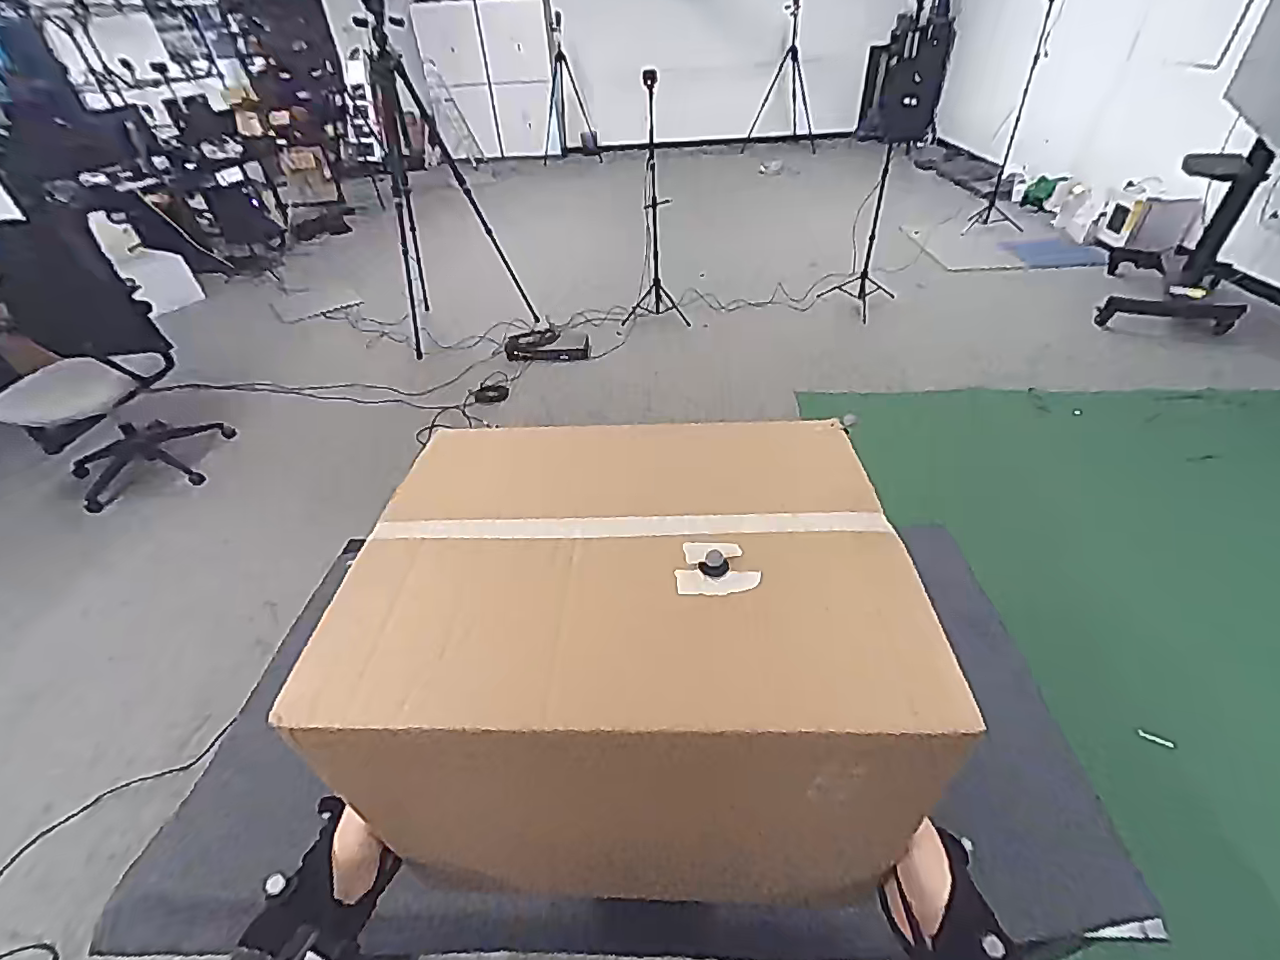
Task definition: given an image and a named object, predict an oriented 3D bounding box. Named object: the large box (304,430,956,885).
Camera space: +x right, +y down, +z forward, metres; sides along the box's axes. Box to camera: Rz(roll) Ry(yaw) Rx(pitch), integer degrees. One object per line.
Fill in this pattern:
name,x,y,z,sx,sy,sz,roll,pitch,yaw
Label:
large box,-0.002,0.165,0.530,0.408,0.320,0.320,-1,39,3
